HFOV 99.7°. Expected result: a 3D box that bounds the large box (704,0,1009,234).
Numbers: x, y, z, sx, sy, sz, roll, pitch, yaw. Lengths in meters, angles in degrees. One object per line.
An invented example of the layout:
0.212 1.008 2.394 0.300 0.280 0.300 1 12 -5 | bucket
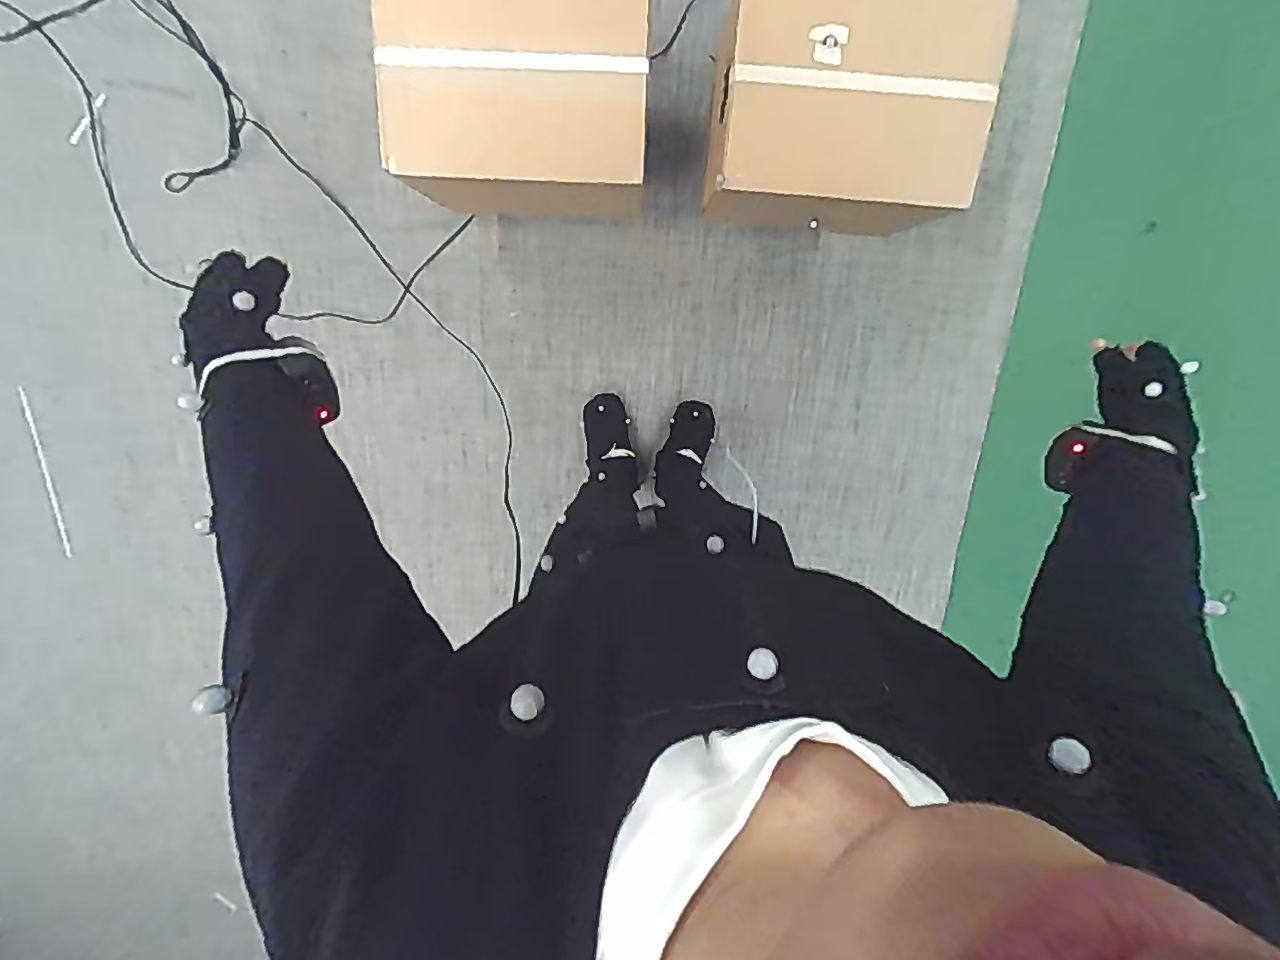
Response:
0.343 -0.640 0.978 0.408 0.320 0.320 4 106 -1 | large box
